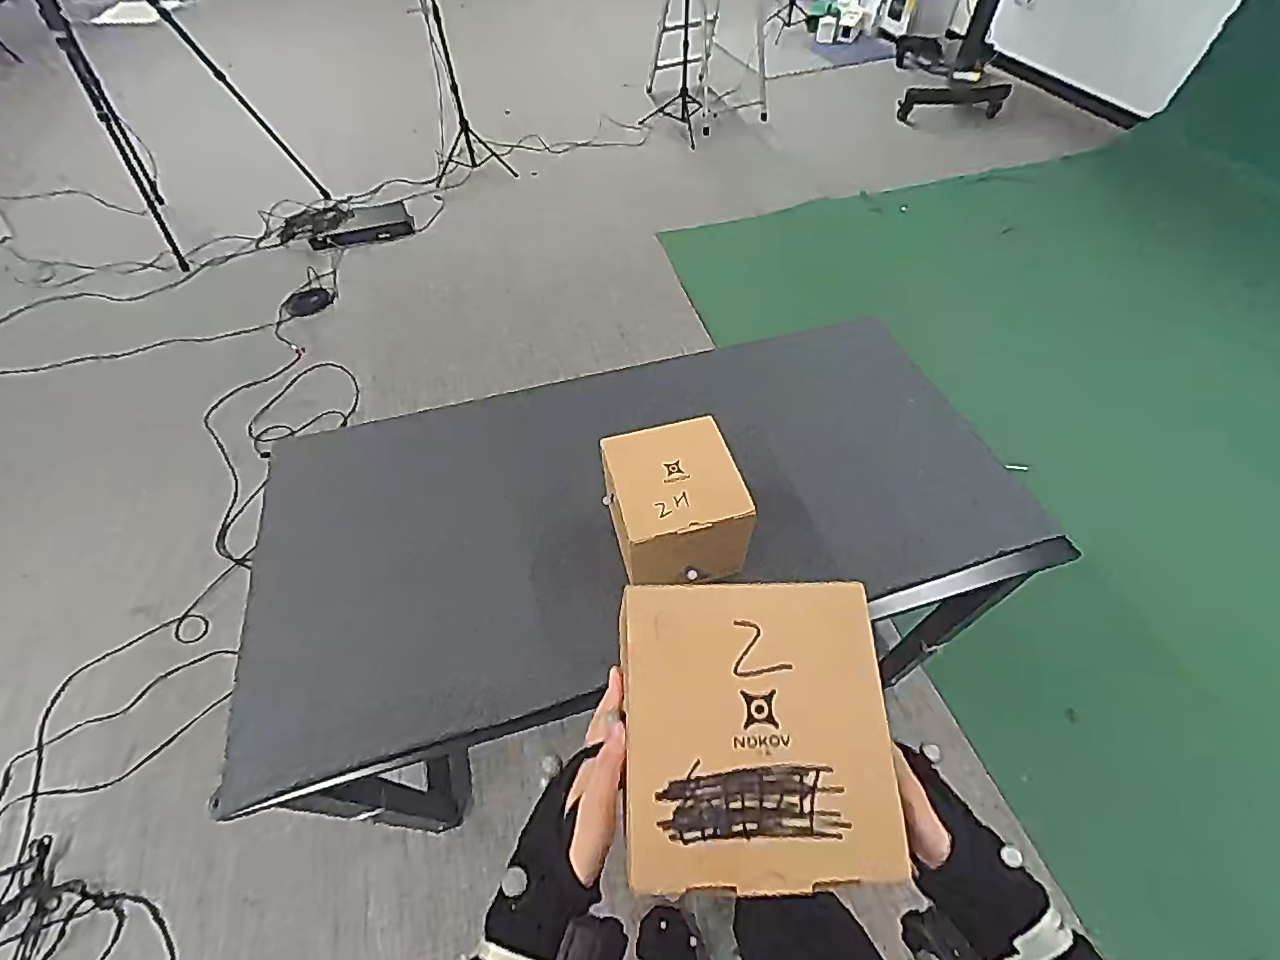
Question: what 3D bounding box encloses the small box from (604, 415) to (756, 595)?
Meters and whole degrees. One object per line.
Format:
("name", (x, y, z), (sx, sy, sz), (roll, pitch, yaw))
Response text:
("small box", (0.048, 0.038, 0.778), (0.168, 0.176, 0.179), (-13, 54, -7))
